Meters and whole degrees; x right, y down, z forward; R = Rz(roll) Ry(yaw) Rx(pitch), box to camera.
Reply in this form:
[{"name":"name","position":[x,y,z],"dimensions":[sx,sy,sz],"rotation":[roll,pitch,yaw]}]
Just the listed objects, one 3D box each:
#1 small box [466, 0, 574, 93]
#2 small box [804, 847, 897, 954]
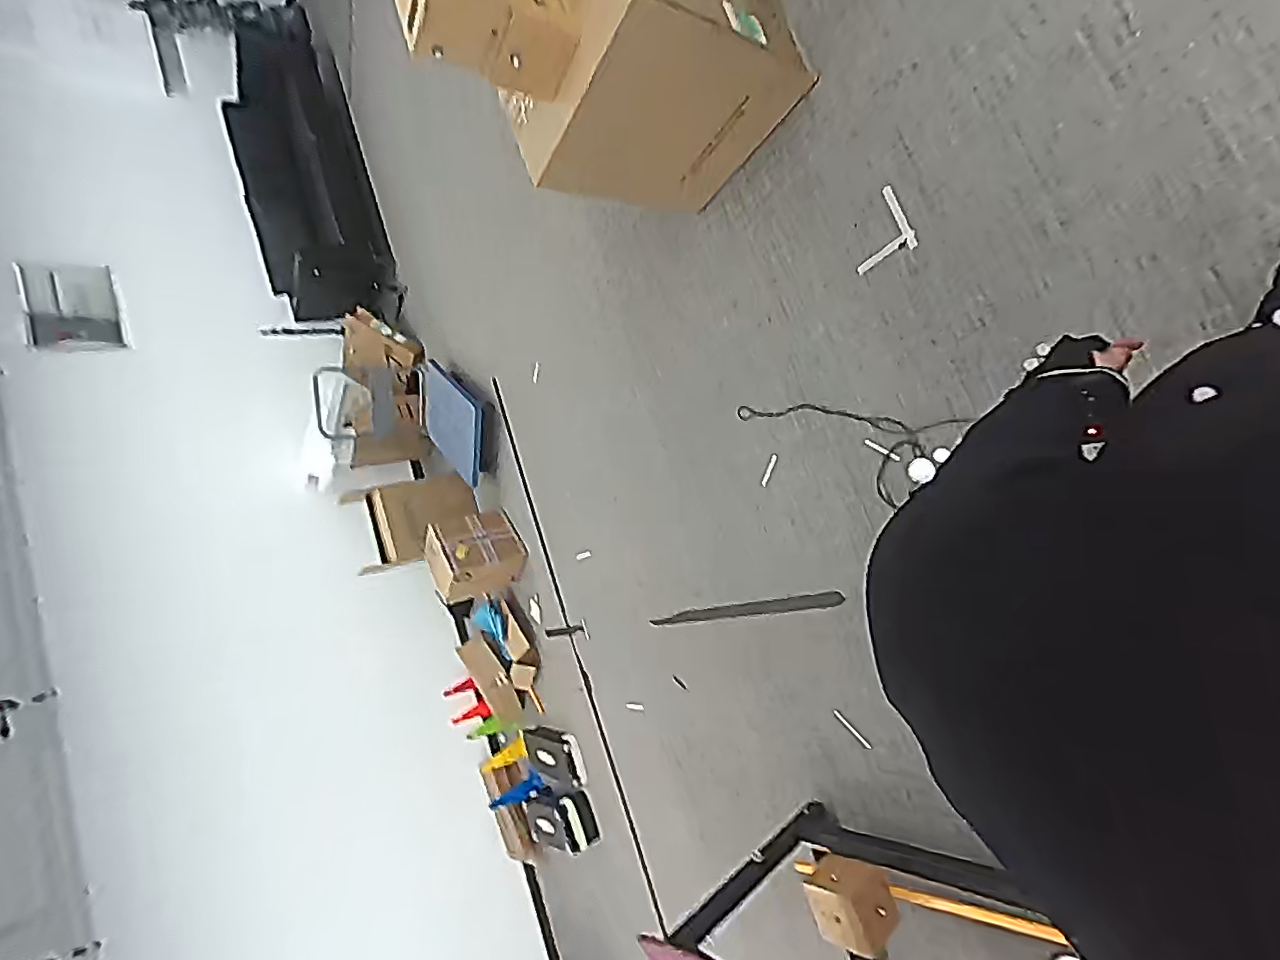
[{"name":"small box","position":[-0.265,-1.024,1.216],"dimensions":[0.179,0.176,0.168],"rotation":[-31,76,53]},{"name":"small box","position":[0.623,1.217,1.583],"dimensions":[0.179,0.176,0.168],"rotation":[-30,76,51]}]
